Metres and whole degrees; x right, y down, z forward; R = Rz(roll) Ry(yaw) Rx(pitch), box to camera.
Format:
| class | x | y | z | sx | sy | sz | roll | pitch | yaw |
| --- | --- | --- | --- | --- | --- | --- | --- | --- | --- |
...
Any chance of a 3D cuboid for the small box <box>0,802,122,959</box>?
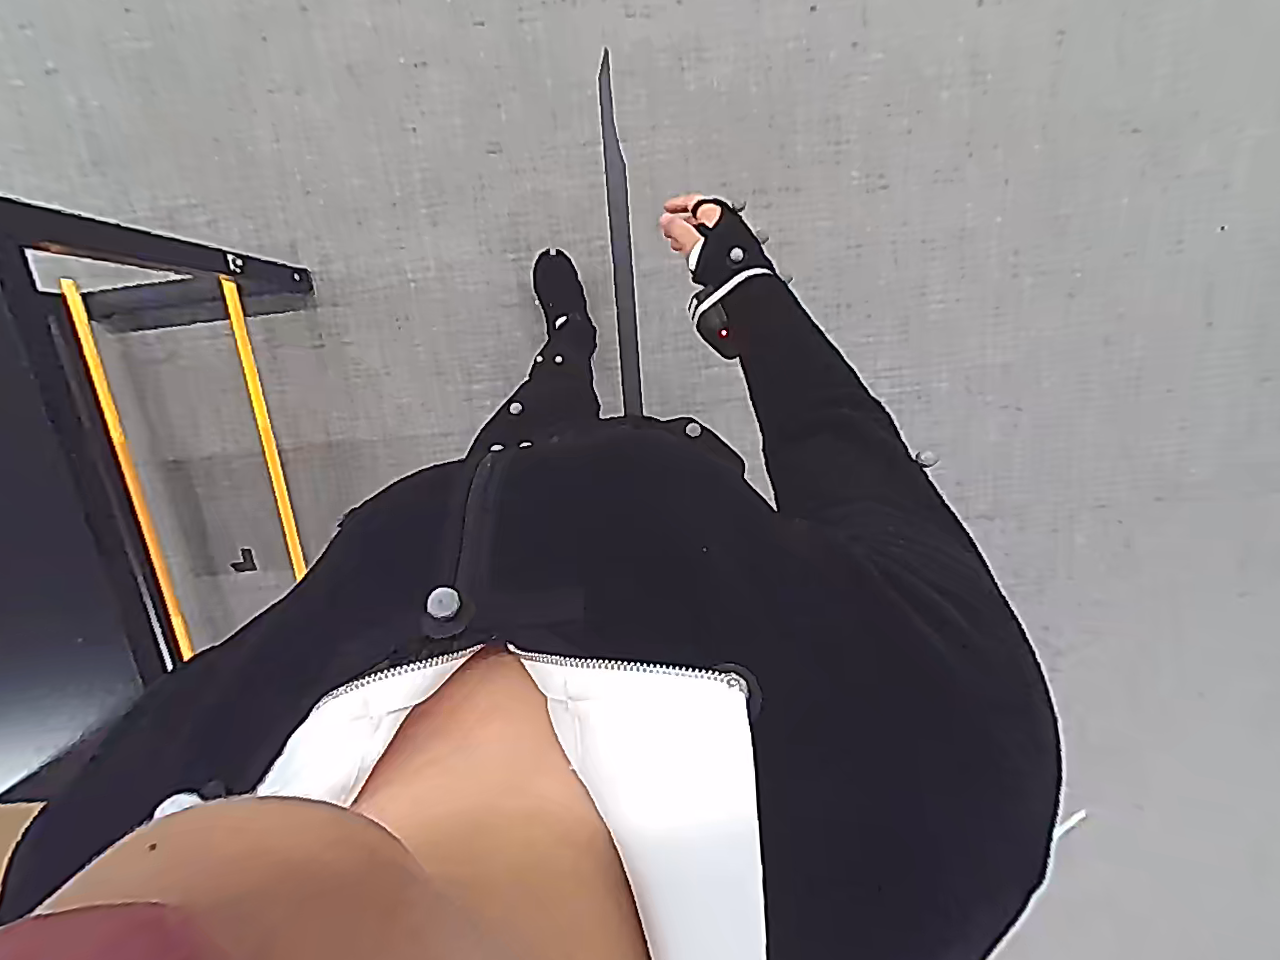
| class | x | y | z | sx | sy | sz | roll | pitch | yaw |
| --- | --- | --- | --- | --- | --- | --- | --- | --- | --- |
| small box | -0.920 | 0.596 | 0.775 | 0.179 | 0.176 | 0.168 | -3 | 104 | -1 |
